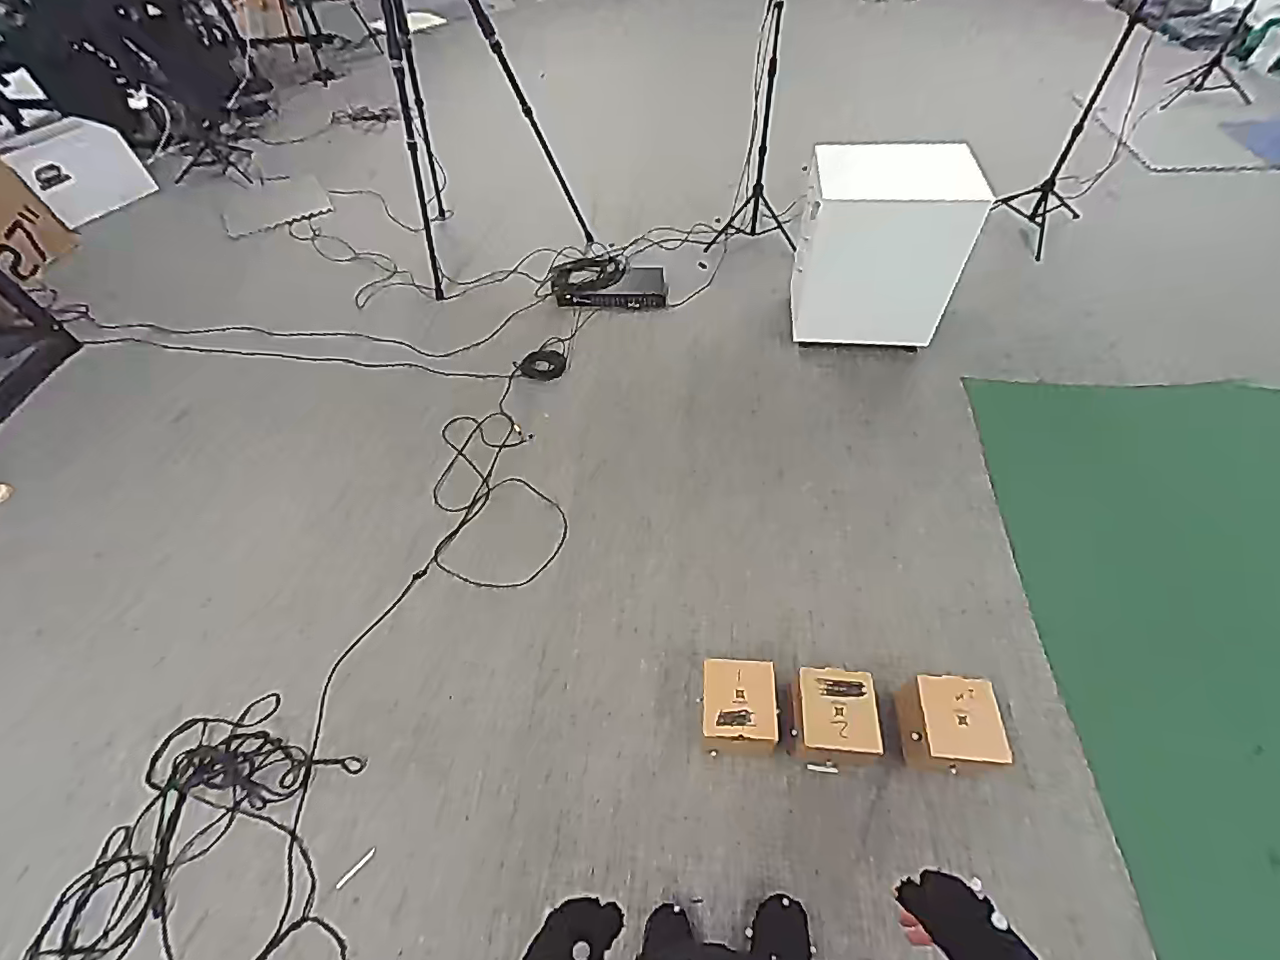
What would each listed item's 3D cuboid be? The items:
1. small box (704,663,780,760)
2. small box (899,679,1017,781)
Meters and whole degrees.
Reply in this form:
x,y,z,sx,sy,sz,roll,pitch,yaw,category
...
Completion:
x,y,z,sx,sy,sz,roll,pitch,yaw,category
0.238,0.555,1.290,0.168,0.176,0.179,1,52,6,small box
0.716,0.576,1.239,0.168,0.176,0.179,3,53,6,small box
